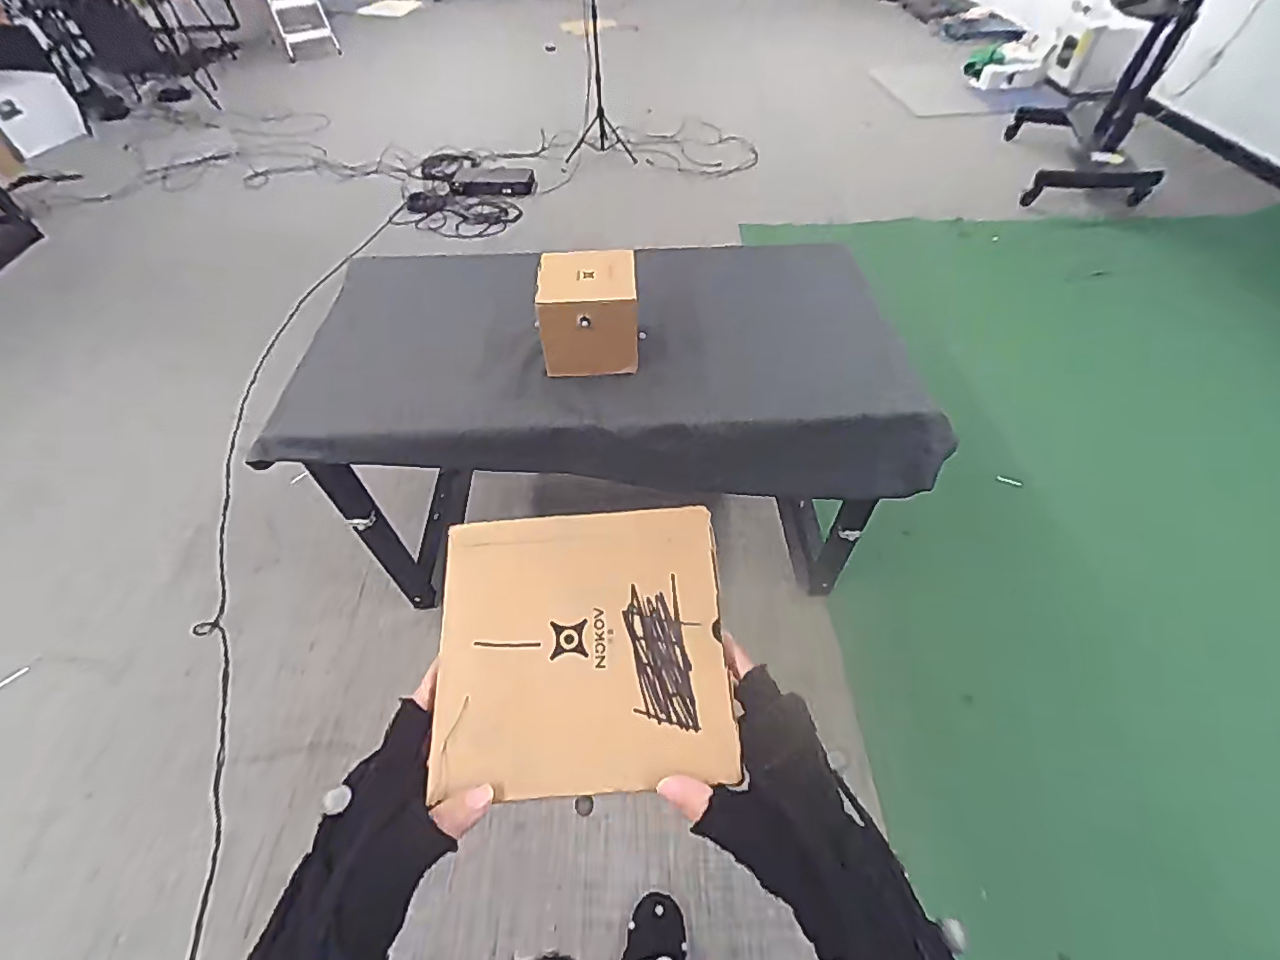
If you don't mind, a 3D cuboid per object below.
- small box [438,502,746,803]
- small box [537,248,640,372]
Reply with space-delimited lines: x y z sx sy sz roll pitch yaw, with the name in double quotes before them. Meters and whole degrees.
"small box" -0.036 0.129 0.406 0.179 0.176 0.168 -6 65 -4
"small box" -0.091 -0.319 1.031 0.179 0.176 0.168 -2 52 -1
